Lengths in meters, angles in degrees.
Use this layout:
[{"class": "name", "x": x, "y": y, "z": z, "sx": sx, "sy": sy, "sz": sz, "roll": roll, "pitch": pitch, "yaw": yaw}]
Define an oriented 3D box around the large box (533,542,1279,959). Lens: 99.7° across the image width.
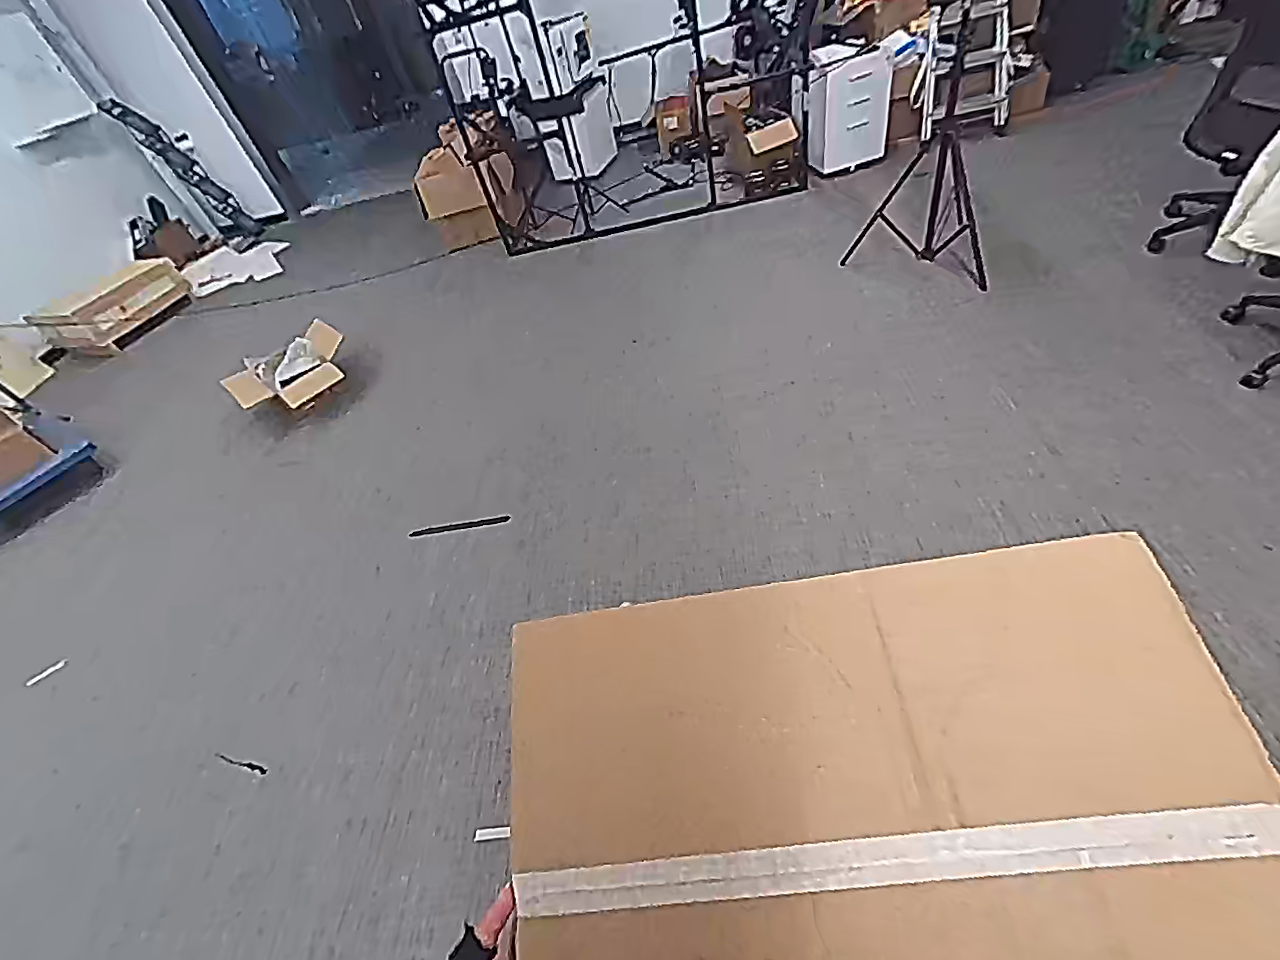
[{"class": "large box", "x": 0.159, "y": 0.275, "z": 0.428, "sx": 0.408, "sy": 0.320, "sz": 0.320, "roll": -10, "pitch": 63, "yaw": 8}]
